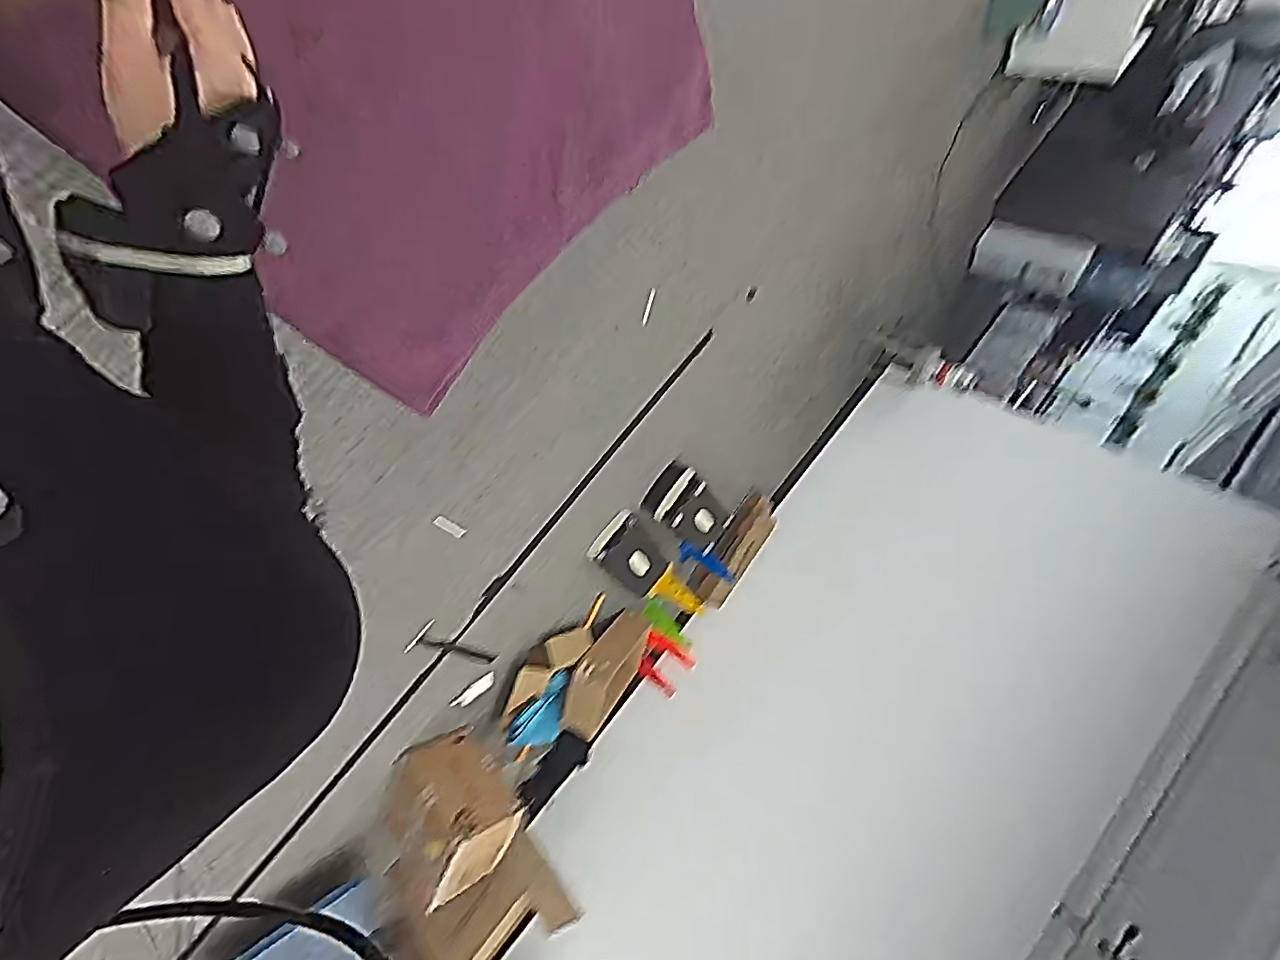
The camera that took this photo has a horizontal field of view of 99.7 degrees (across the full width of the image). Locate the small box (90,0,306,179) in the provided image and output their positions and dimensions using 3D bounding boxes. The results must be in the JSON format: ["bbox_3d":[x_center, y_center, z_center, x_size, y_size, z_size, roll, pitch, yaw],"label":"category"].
[{"bbox_3d":[-0.659,-0.593,0.809,0.168,0.176,0.179,-50,148,-7],"label":"small box"}]
